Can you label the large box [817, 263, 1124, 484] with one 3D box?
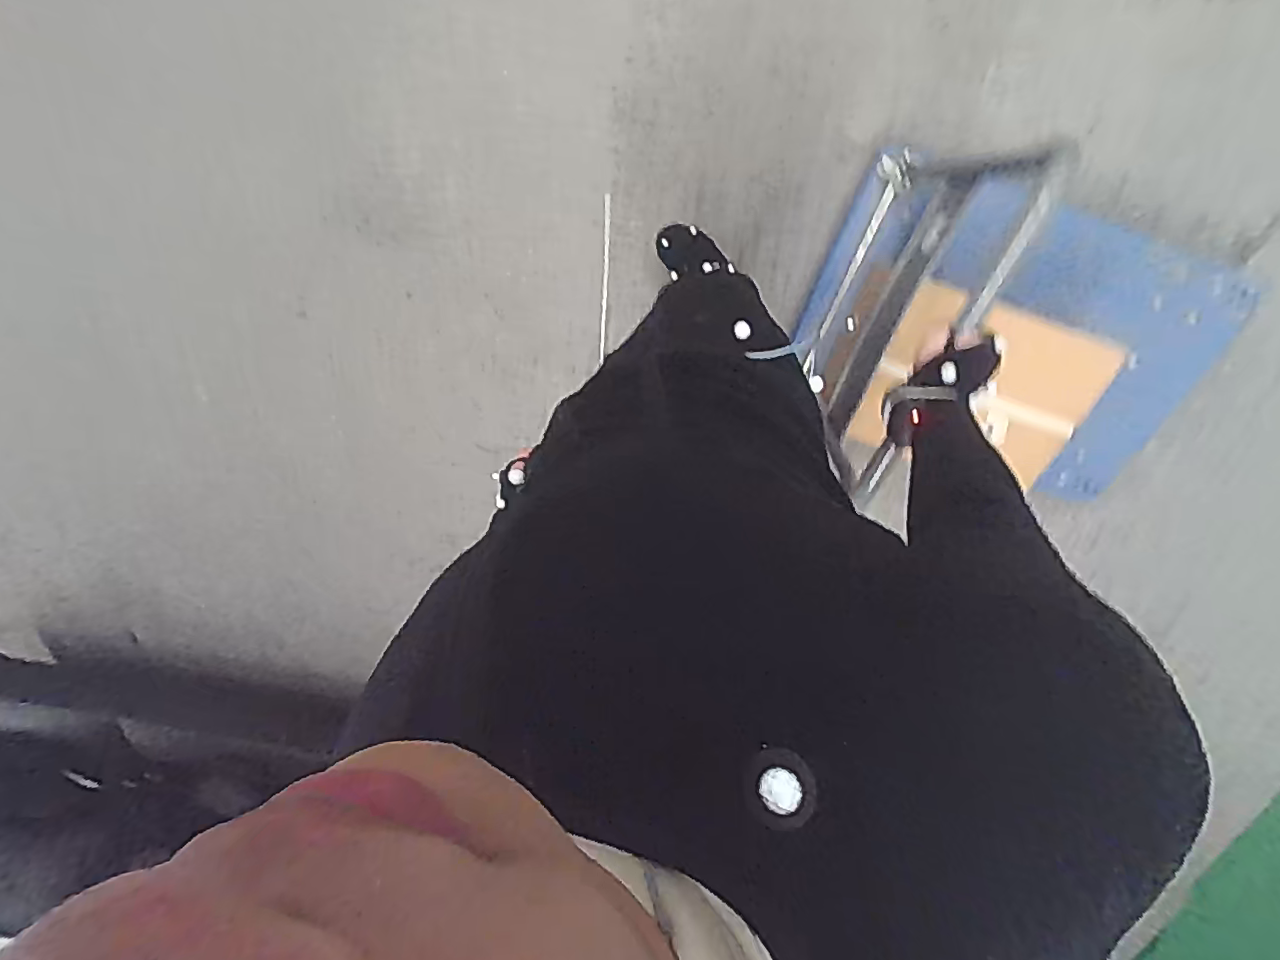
[{"bbox_3d":[0.650,-0.243,1.158,0.408,0.320,0.320,19,118,-1],"label":"large box"}]
